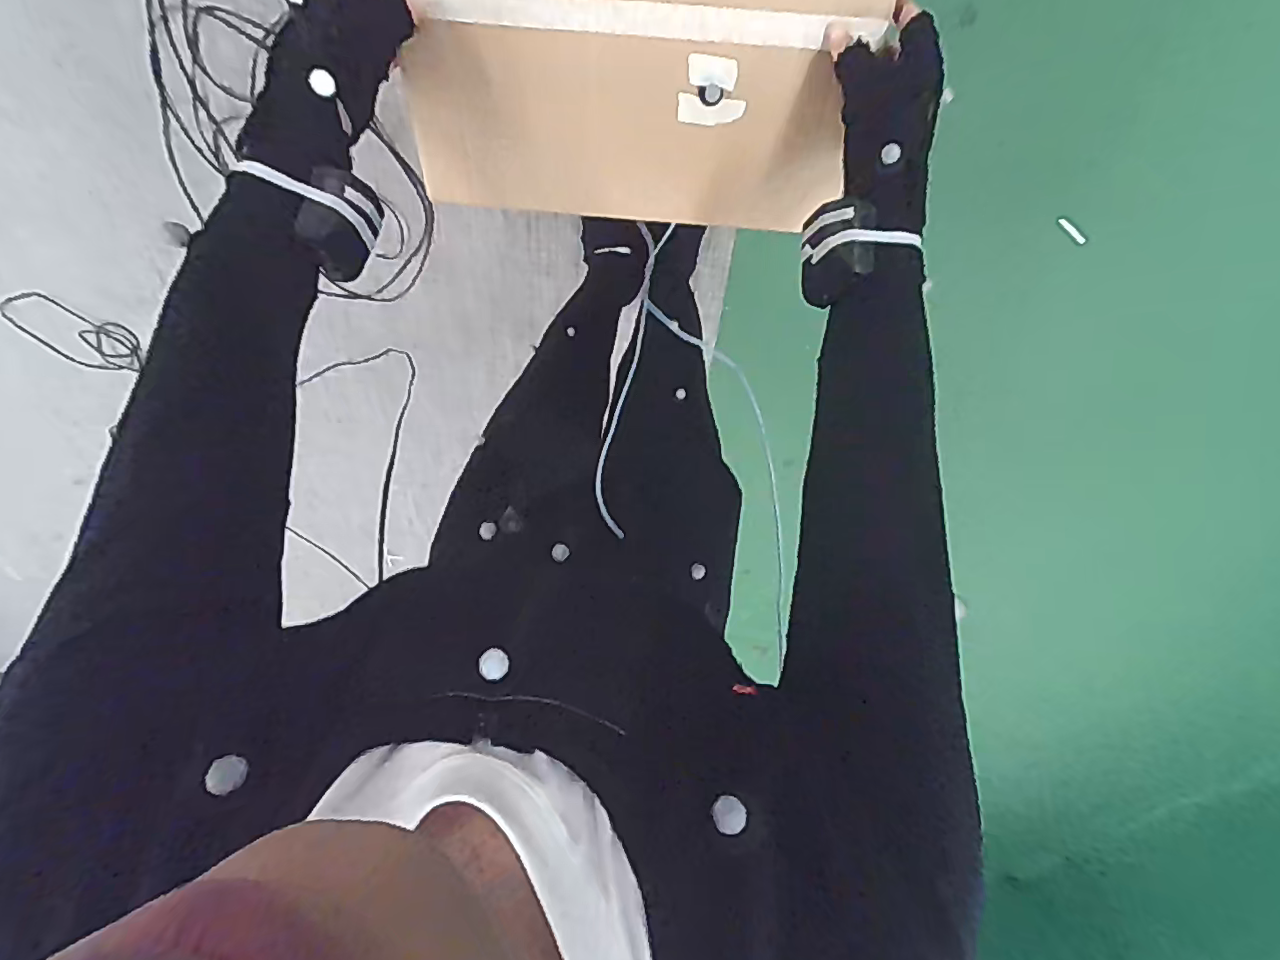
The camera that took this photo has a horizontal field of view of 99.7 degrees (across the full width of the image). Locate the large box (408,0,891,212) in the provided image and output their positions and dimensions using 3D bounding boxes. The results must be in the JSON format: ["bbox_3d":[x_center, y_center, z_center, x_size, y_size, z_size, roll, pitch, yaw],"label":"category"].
[{"bbox_3d":[0.009,-0.495,0.550,0.408,0.320,0.320,4,135,-1],"label":"large box"}]
